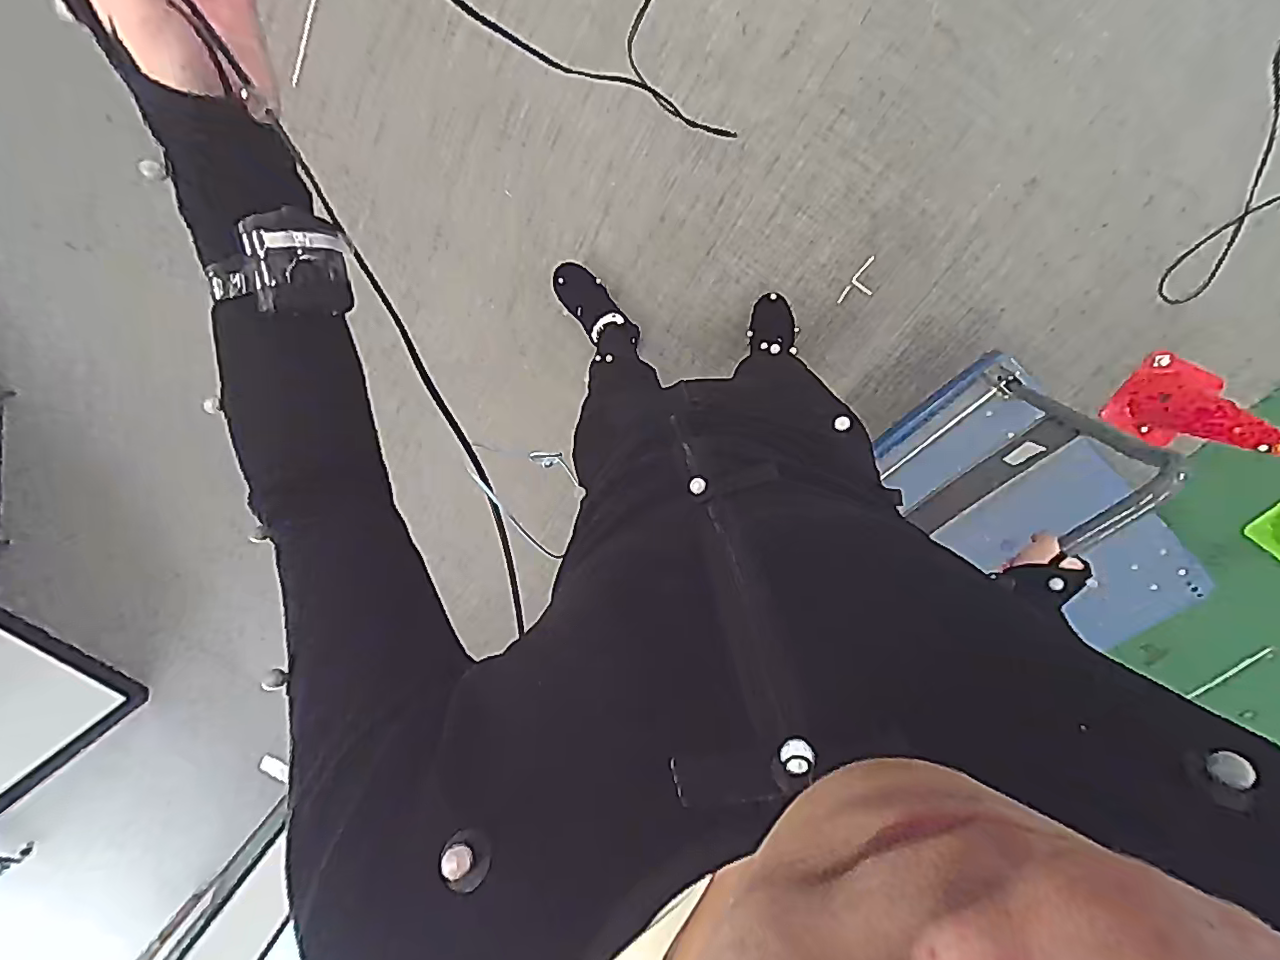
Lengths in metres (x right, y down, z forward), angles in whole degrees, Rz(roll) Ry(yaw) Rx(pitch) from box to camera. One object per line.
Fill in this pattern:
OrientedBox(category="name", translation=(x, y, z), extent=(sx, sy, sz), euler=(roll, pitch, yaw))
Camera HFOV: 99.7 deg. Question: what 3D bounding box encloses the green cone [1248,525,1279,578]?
OrientedBox(category="green cone", translation=(1.708, 0.234, 1.248), extent=(0.202, 0.368, 0.200), euler=(34, 114, -5))
